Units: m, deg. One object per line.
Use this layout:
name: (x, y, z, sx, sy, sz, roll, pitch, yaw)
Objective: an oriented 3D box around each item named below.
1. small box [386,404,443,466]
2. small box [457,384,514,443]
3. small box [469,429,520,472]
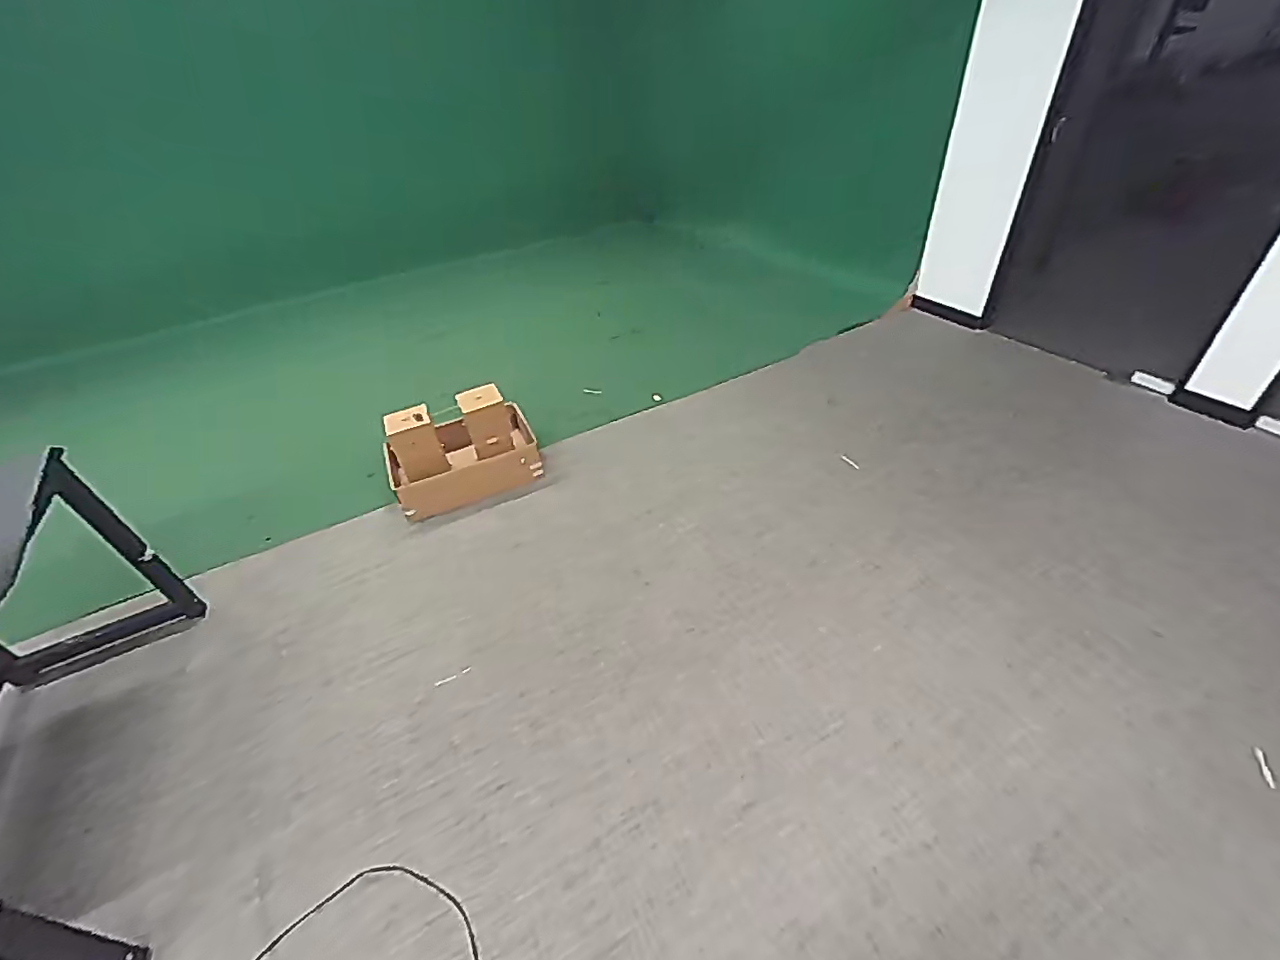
small box: (-0.930, -0.185, 2.242, 0.179, 0.176, 0.168, -20, 42, -16)
small box: (-0.664, -0.285, 2.331, 0.179, 0.176, 0.168, -21, 44, -17)
small box: (-0.651, -0.155, 2.429, 0.168, 0.176, 0.179, -20, 43, -14)
